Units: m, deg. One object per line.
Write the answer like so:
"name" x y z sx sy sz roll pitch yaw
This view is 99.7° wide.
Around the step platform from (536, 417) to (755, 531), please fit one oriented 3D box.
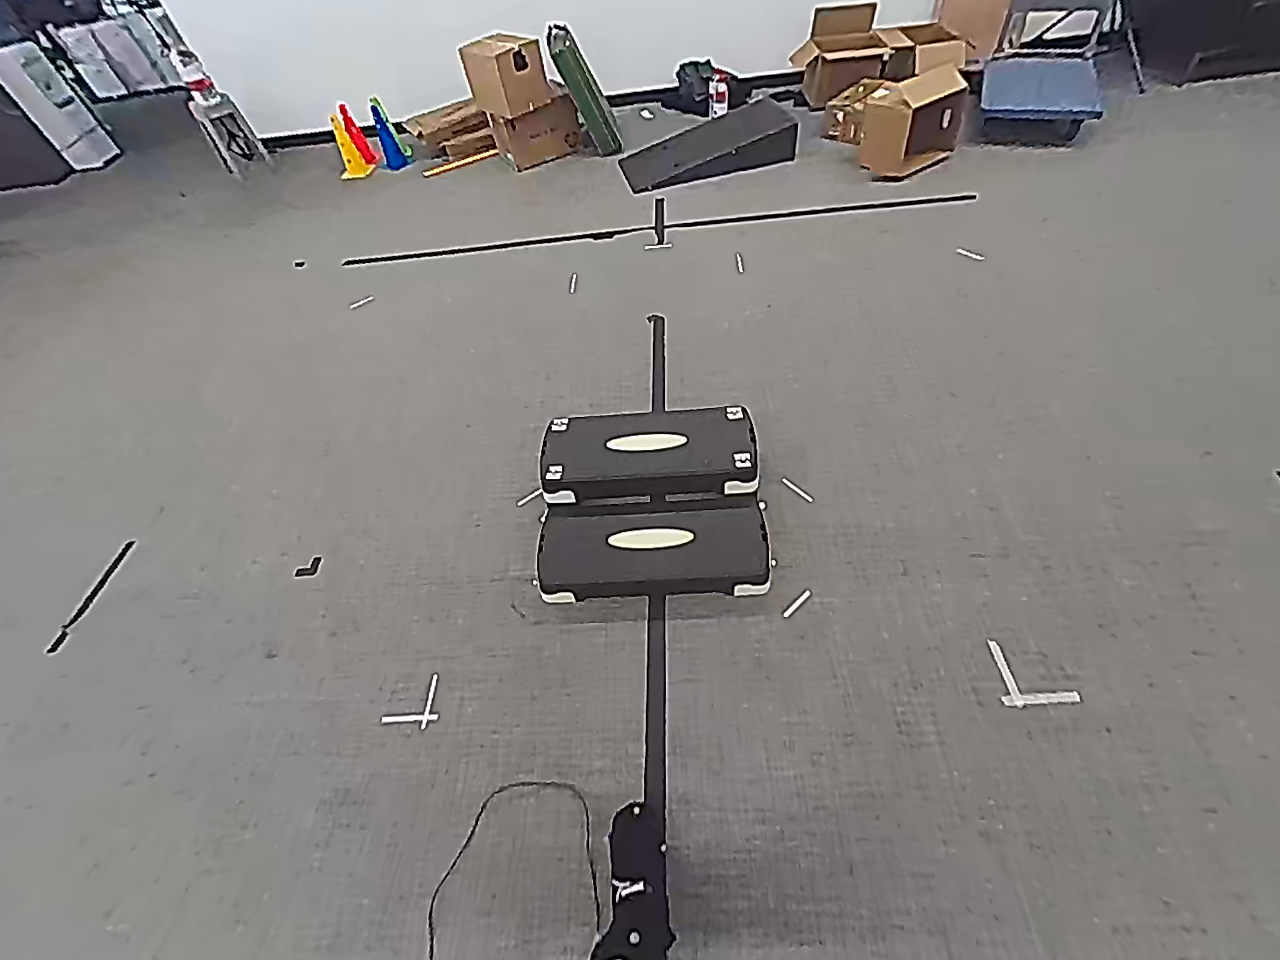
"step platform" 0.016 -0.023 1.721 0.684 0.204 0.286 -3 52 4
